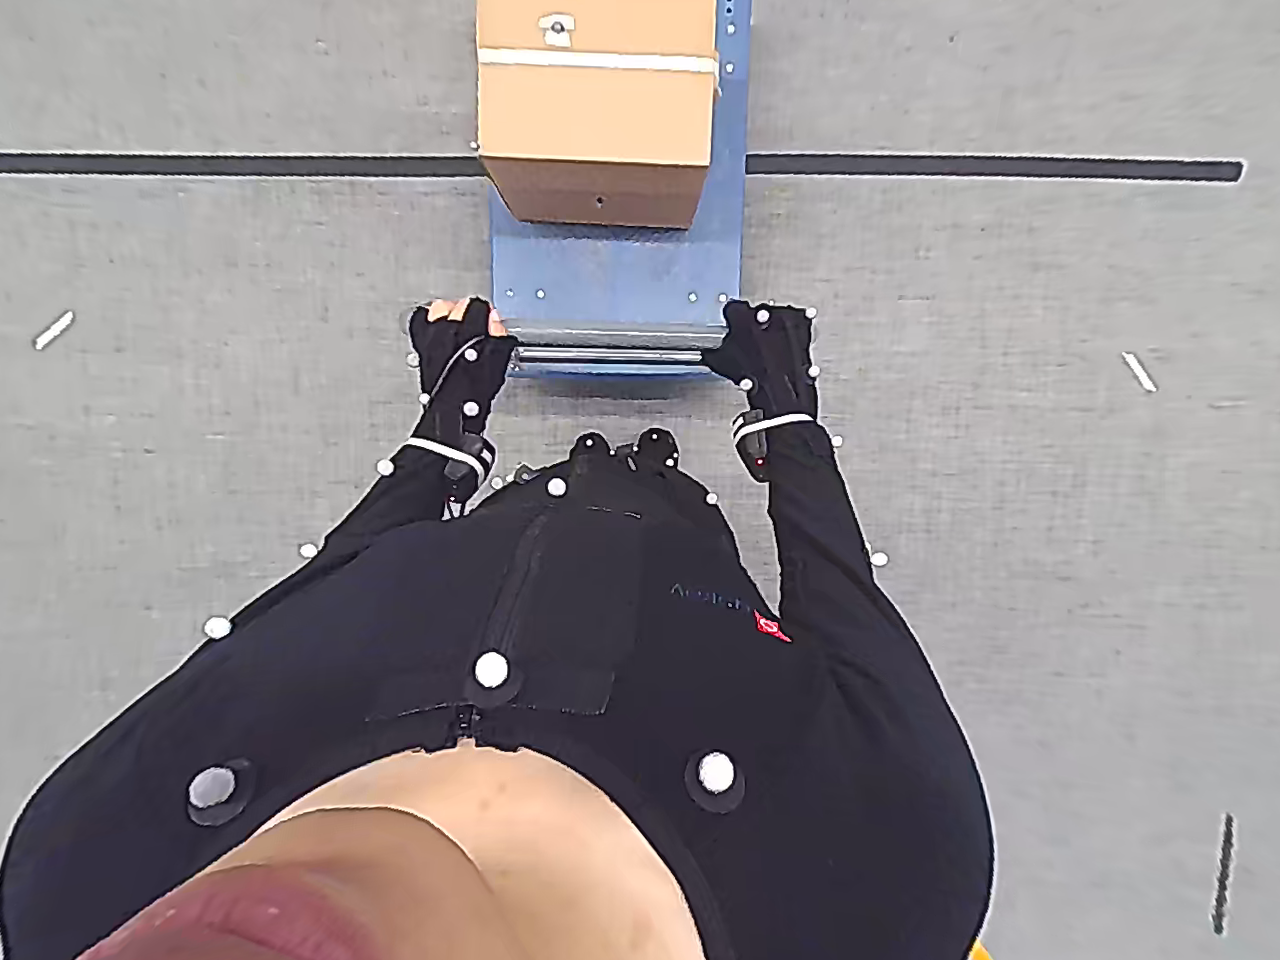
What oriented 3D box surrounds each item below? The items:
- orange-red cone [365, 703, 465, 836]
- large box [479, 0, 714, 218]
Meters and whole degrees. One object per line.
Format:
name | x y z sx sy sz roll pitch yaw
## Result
orange-red cone | -0.601 0.756 1.375 0.198 0.360 0.199 8 95 -3
large box | -0.075 -0.731 1.067 0.408 0.320 0.320 2 96 -1
